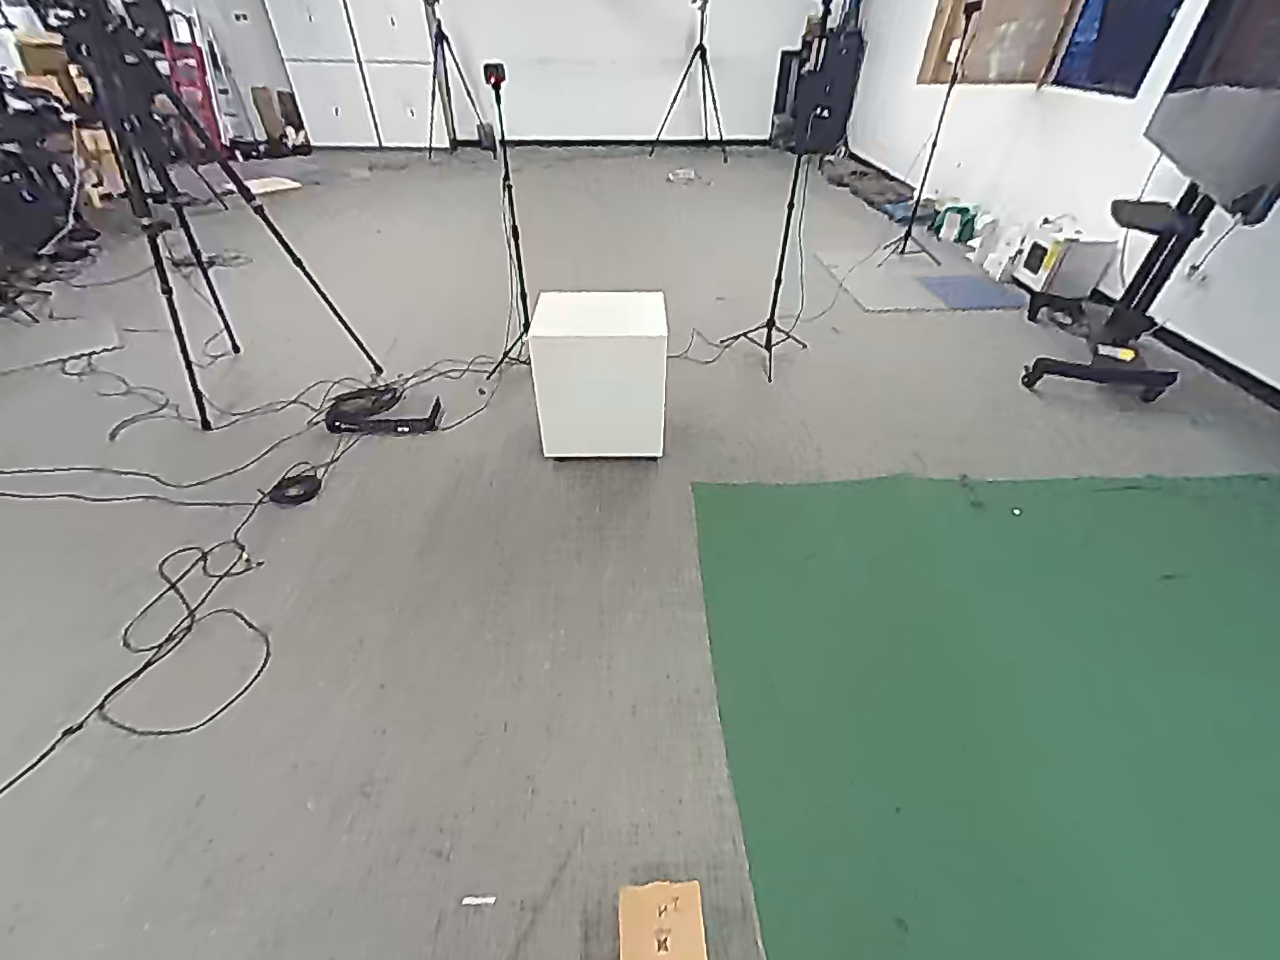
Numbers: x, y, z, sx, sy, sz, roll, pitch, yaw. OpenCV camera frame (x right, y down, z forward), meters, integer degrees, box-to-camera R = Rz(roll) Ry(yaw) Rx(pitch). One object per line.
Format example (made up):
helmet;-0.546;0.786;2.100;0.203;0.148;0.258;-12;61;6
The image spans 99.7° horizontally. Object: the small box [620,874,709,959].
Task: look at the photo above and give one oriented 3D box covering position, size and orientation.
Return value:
small box;0.045;0.918;1.083;0.168;0.176;0.179;-1;42;-3
